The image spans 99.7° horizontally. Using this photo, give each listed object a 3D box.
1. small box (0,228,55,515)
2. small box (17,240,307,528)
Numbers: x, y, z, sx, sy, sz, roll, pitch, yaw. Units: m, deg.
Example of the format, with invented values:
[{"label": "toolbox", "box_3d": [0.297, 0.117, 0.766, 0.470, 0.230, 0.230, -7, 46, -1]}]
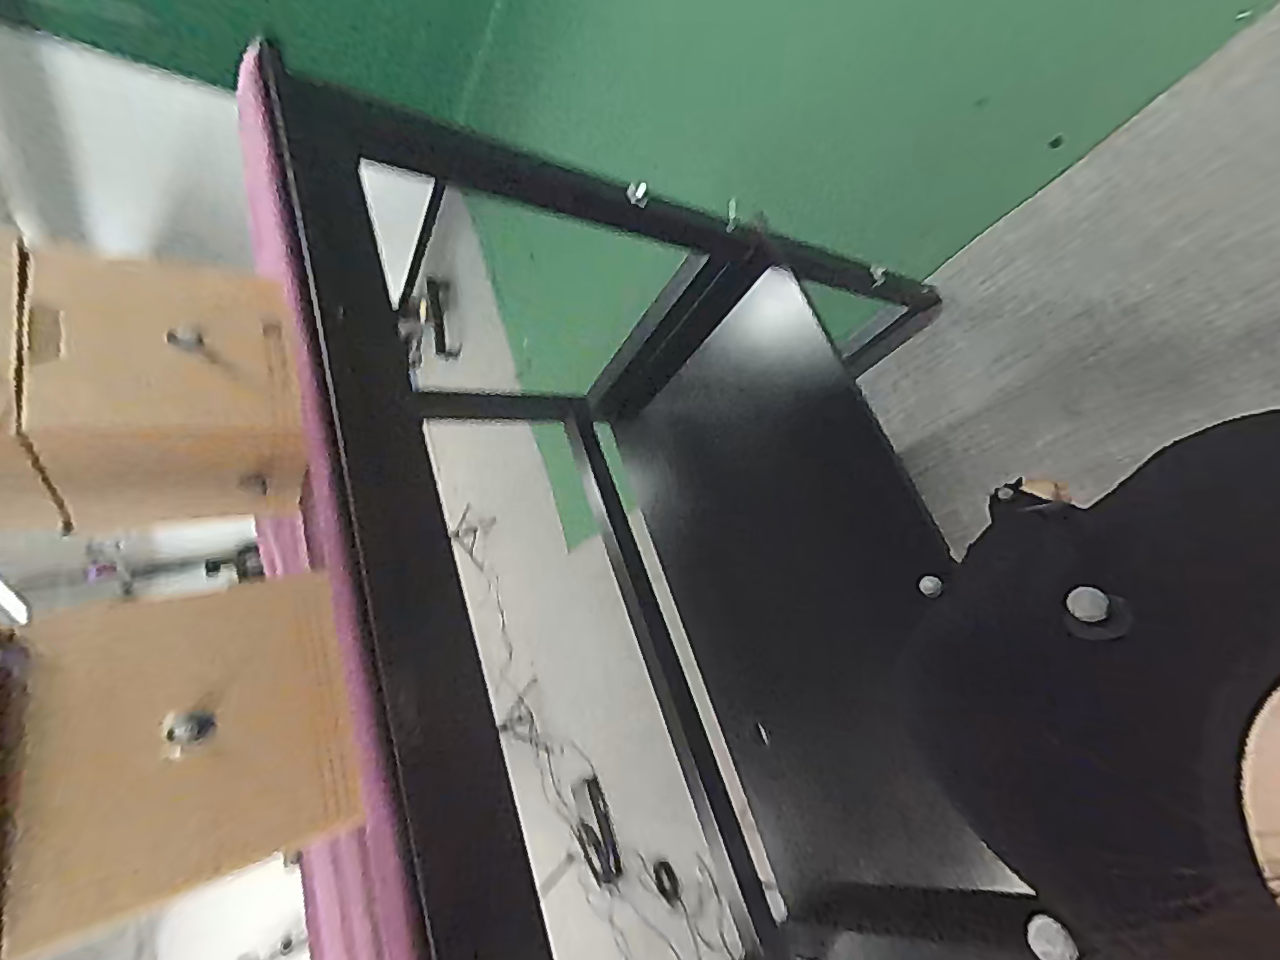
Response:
[{"label": "small box", "box_3d": [-0.536, -0.072, 0.380, 0.179, 0.176, 0.168, -37, 67, 45]}, {"label": "small box", "box_3d": [-0.407, -0.073, 0.480, 0.179, 0.176, 0.168, -40, 63, 45]}]
